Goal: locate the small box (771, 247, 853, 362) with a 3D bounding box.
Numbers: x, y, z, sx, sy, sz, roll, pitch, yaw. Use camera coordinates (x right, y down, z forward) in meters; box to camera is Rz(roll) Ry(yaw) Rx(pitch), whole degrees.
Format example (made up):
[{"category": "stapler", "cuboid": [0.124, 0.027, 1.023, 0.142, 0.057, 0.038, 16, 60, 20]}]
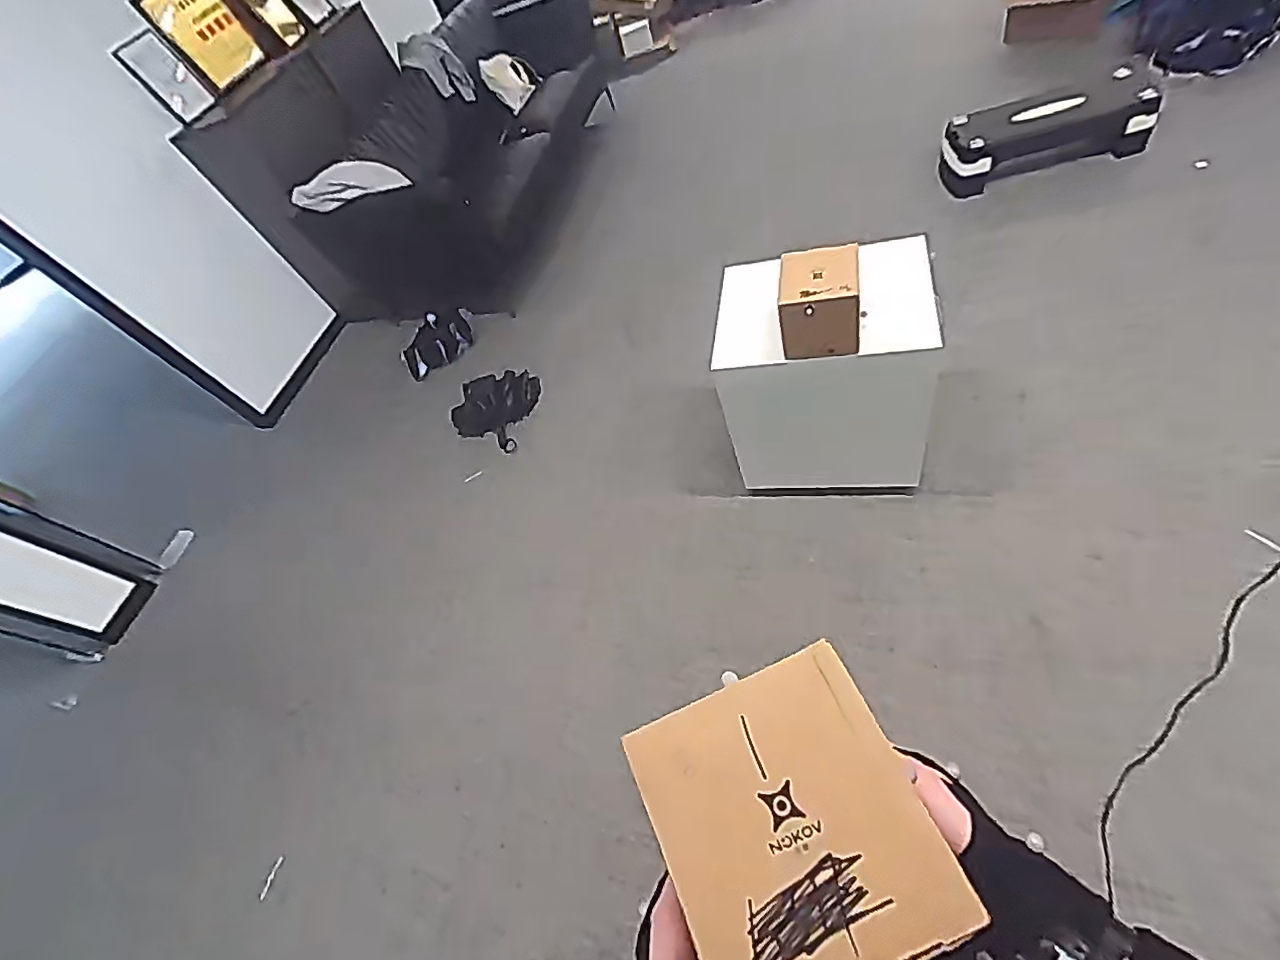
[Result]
[{"category": "small box", "cuboid": [0.395, -0.395, 1.231, 0.168, 0.176, 0.179, -2, 55, 21]}]
